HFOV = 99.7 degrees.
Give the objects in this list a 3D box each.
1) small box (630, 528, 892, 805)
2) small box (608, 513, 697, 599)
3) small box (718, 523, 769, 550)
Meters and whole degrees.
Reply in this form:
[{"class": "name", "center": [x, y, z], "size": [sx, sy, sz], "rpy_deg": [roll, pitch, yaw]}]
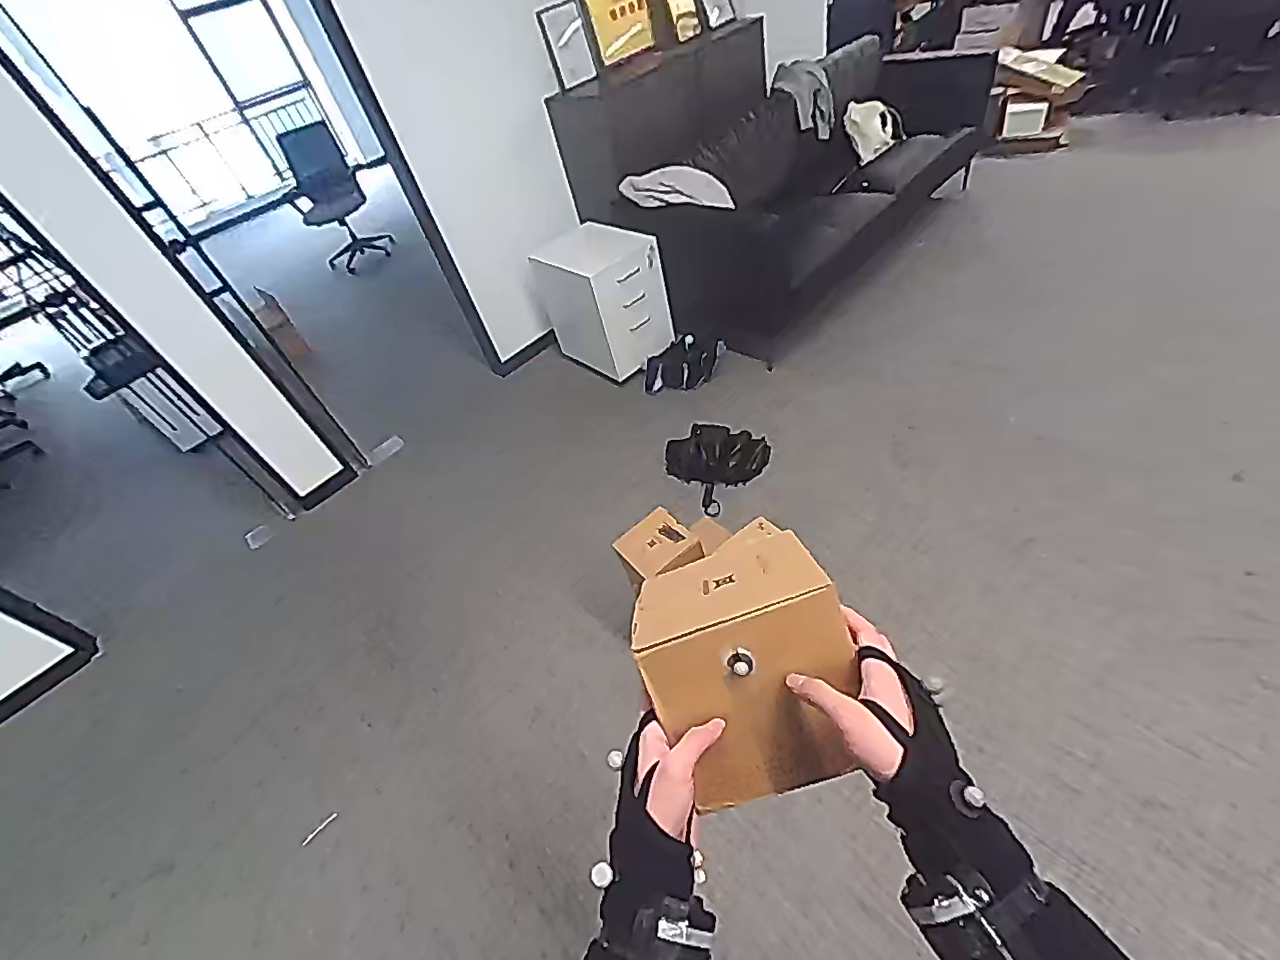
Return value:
[{"class": "small box", "center": [0.105, 0.167, 0.512], "size": [0.179, 0.176, 0.168], "rpy_deg": [-19, 8, 5]}, {"class": "small box", "center": [0.044, 0.228, 1.448], "size": [0.179, 0.176, 0.168], "rpy_deg": [-36, 47, -16]}, {"class": "small box", "center": [0.289, 0.249, 1.355], "size": [0.179, 0.176, 0.168], "rpy_deg": [-33, 45, -19]}]
